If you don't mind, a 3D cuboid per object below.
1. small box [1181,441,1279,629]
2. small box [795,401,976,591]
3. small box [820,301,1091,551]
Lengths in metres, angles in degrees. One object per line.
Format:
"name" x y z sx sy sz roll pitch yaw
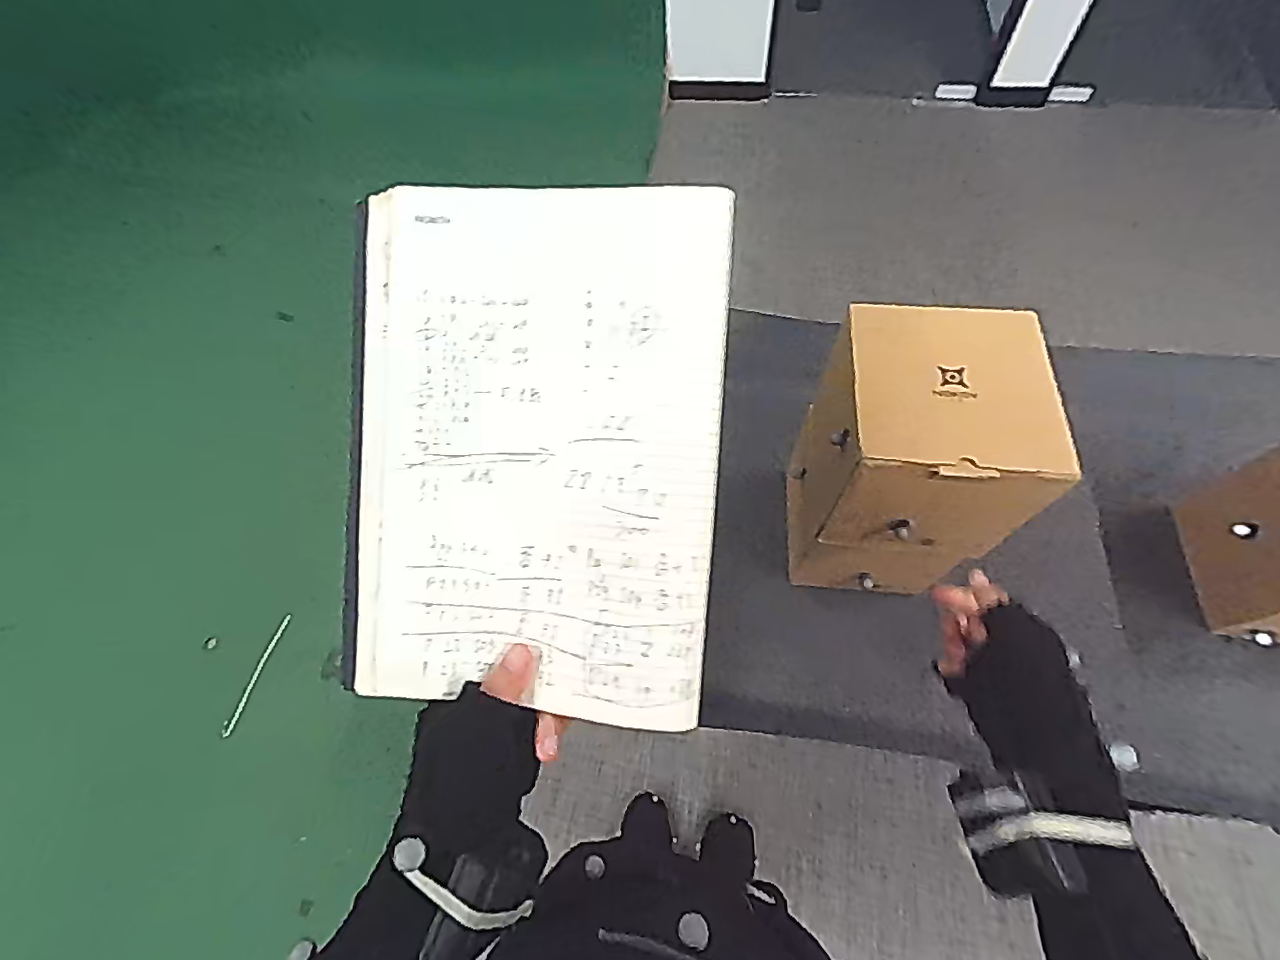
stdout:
"small box" 0.781 0.071 0.606 0.168 0.176 0.179 6 61 9
"small box" 0.291 0.023 0.676 0.168 0.176 0.179 3 61 7
"small box" 0.279 -0.048 0.531 0.168 0.176 0.179 4 62 7
